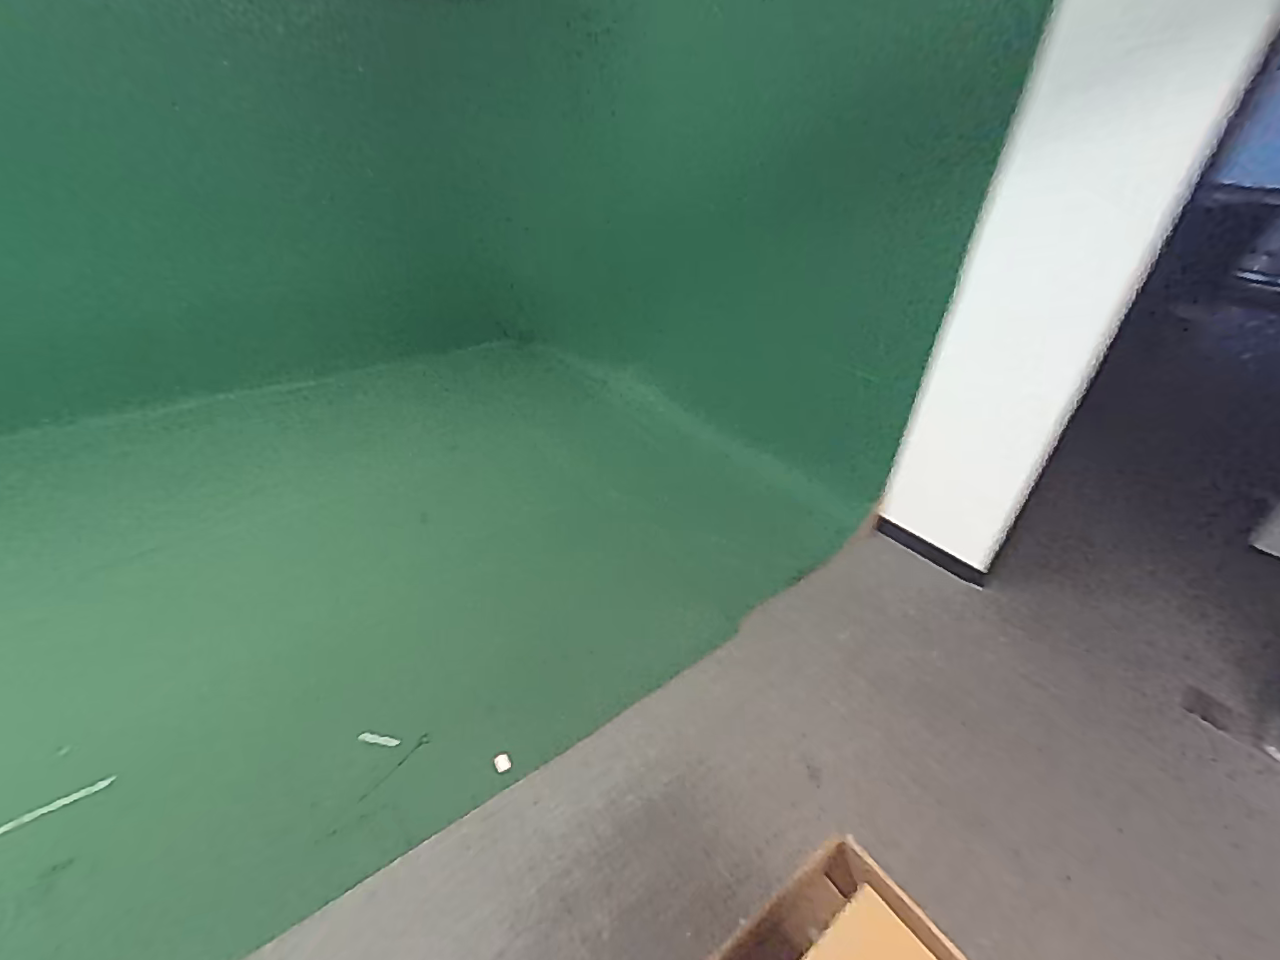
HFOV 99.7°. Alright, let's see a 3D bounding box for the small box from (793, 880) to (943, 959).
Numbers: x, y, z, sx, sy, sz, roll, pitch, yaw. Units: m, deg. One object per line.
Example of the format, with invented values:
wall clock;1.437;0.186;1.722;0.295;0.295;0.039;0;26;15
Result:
small box;0.252;0.603;0.589;0.168;0.176;0.179;-22;43;-30
